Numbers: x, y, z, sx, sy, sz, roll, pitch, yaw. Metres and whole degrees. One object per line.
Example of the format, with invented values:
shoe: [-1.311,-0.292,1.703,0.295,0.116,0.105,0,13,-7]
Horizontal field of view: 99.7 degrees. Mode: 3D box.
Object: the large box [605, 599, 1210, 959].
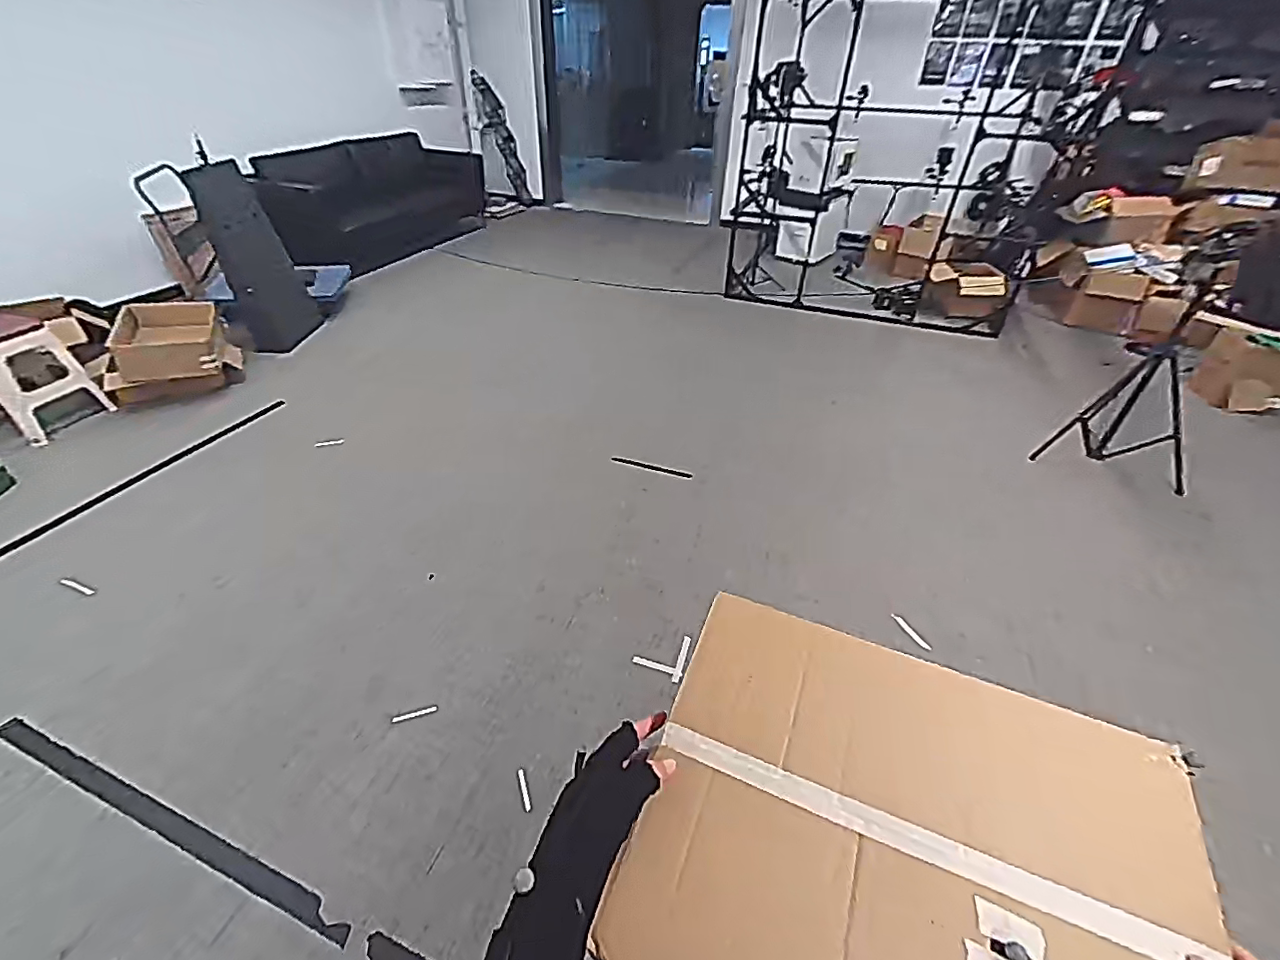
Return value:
large box: [0.214,0.382,0.538,0.408,0.320,0.320,17,50,17]
